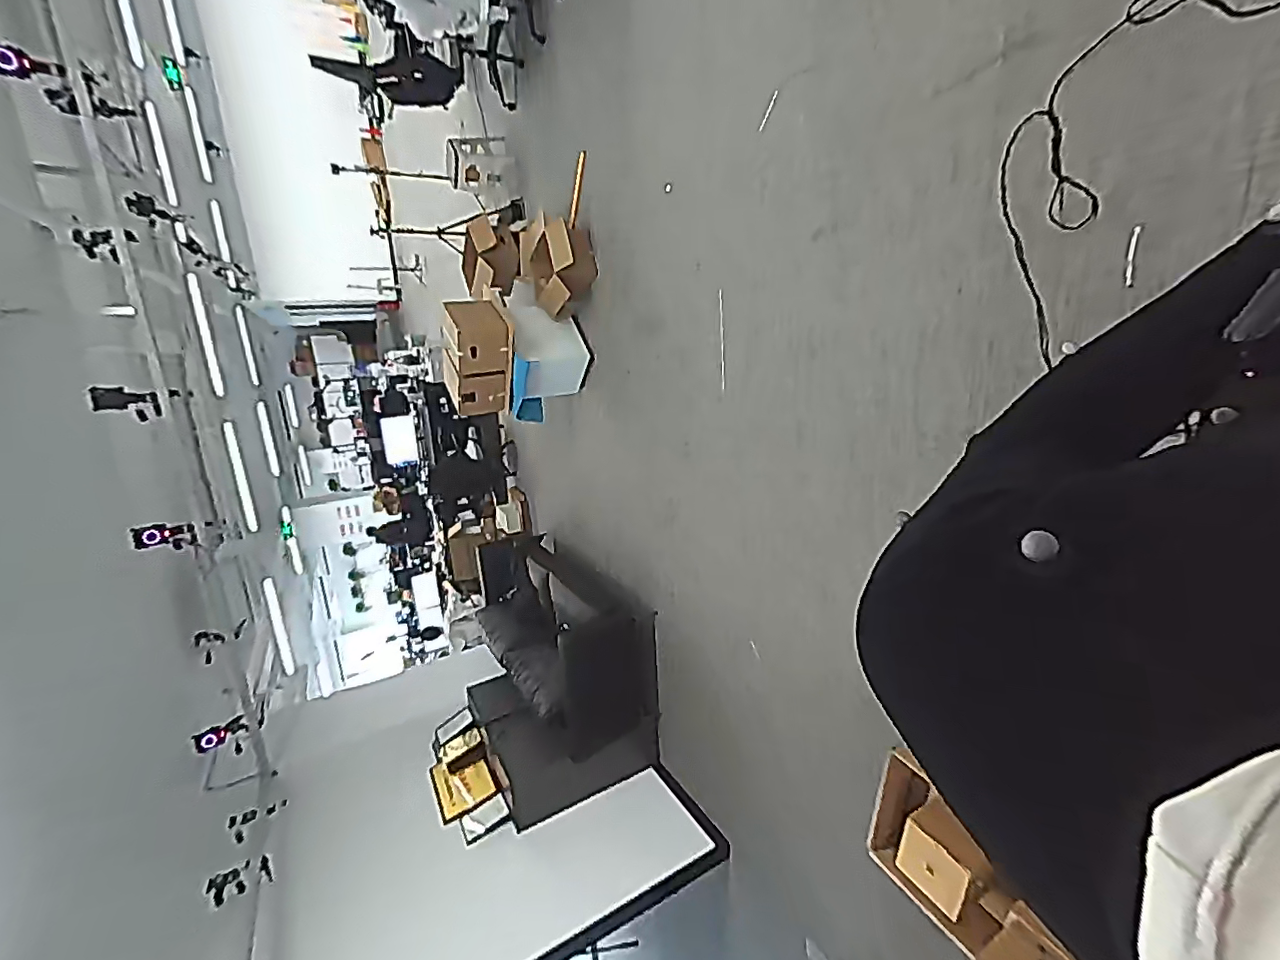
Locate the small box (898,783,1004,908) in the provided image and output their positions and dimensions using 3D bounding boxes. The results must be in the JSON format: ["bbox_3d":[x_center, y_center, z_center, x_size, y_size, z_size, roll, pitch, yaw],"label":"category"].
[{"bbox_3d":[0.806,0.938,1.402,0.168,0.176,0.179,30,125,53],"label":"small box"}]

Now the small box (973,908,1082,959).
[{"bbox_3d":[0.803,1.049,1.109,0.168,0.176,0.179,26,123,54],"label":"small box"}]
